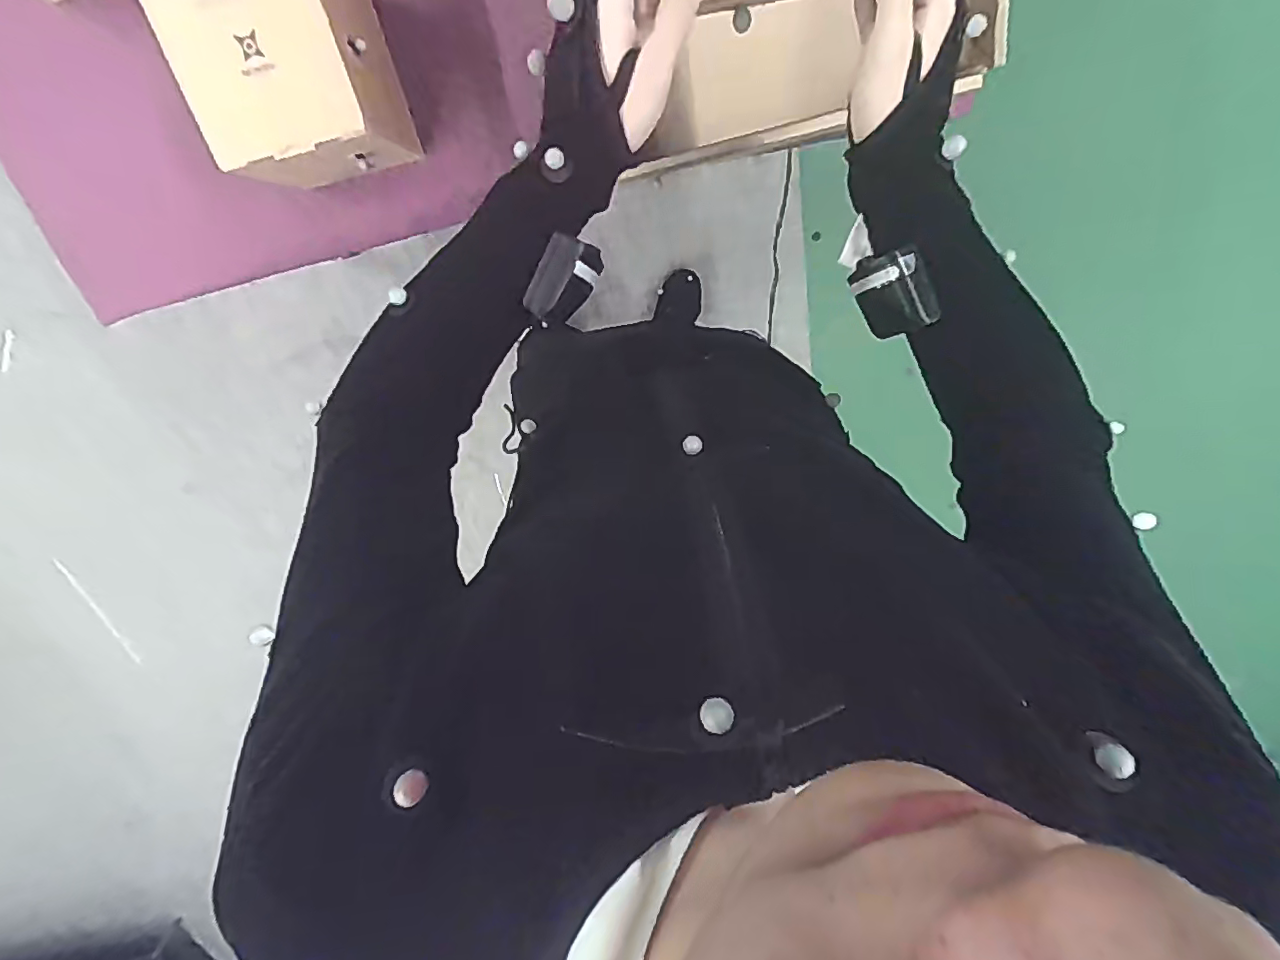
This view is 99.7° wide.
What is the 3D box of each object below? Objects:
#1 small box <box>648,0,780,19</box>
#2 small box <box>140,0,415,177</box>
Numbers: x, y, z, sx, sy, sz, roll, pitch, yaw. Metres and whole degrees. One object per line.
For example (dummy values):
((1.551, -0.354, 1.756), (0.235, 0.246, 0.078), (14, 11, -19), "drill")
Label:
((0.078, -0.430, 0.351), (0.168, 0.176, 0.179), (-8, 128, 2), "small box")
((-0.375, -0.447, 0.592), (0.168, 0.176, 0.179), (-12, 112, 4), "small box")
